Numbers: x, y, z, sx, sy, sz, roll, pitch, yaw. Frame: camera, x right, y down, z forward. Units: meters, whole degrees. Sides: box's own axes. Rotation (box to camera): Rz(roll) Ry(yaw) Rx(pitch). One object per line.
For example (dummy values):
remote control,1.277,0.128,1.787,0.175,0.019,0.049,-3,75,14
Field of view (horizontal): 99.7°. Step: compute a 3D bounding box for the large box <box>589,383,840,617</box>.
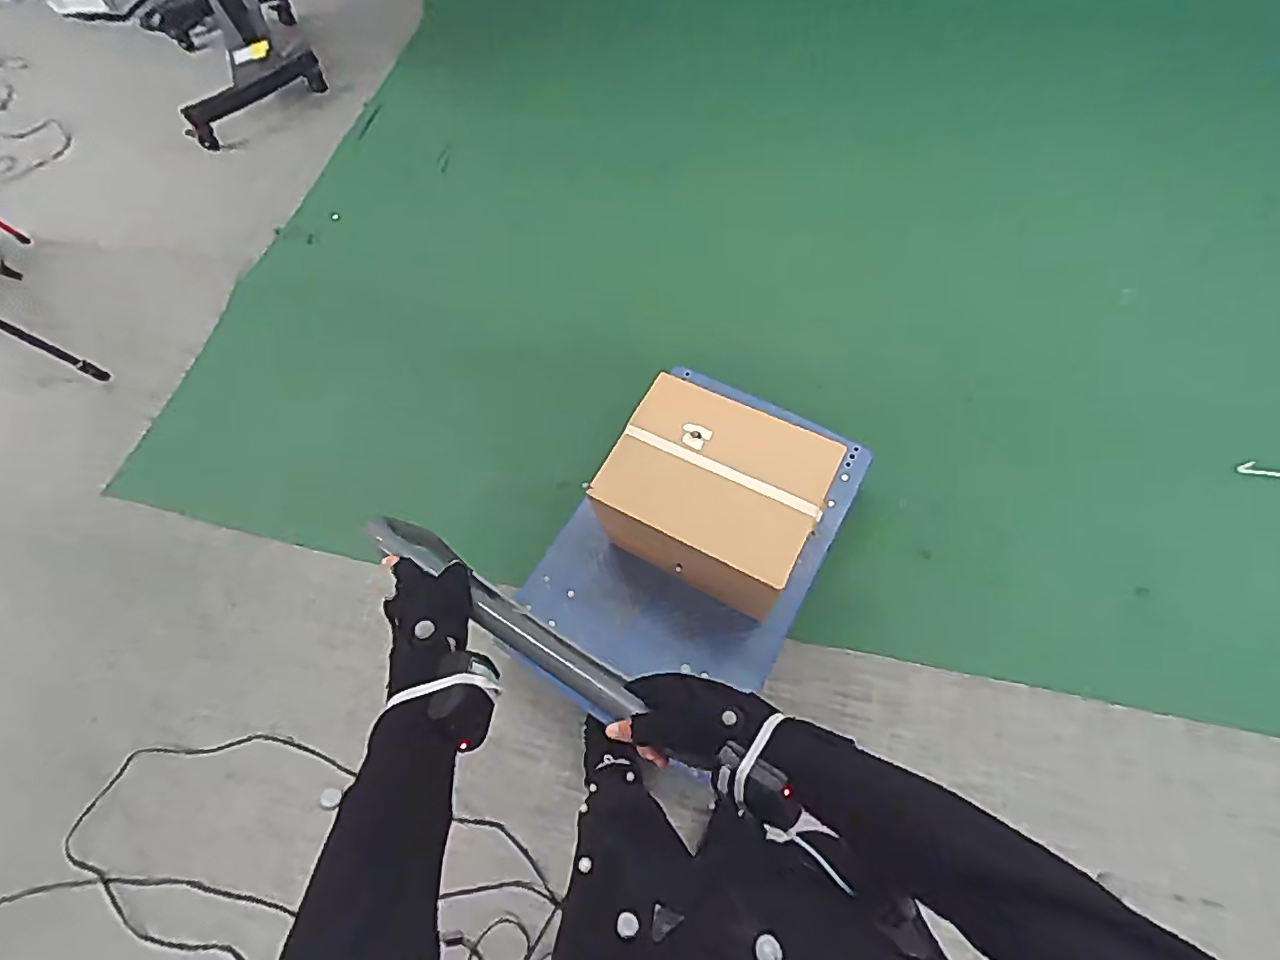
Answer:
large box,0.162,0.053,1.179,0.408,0.320,0.320,25,70,17
